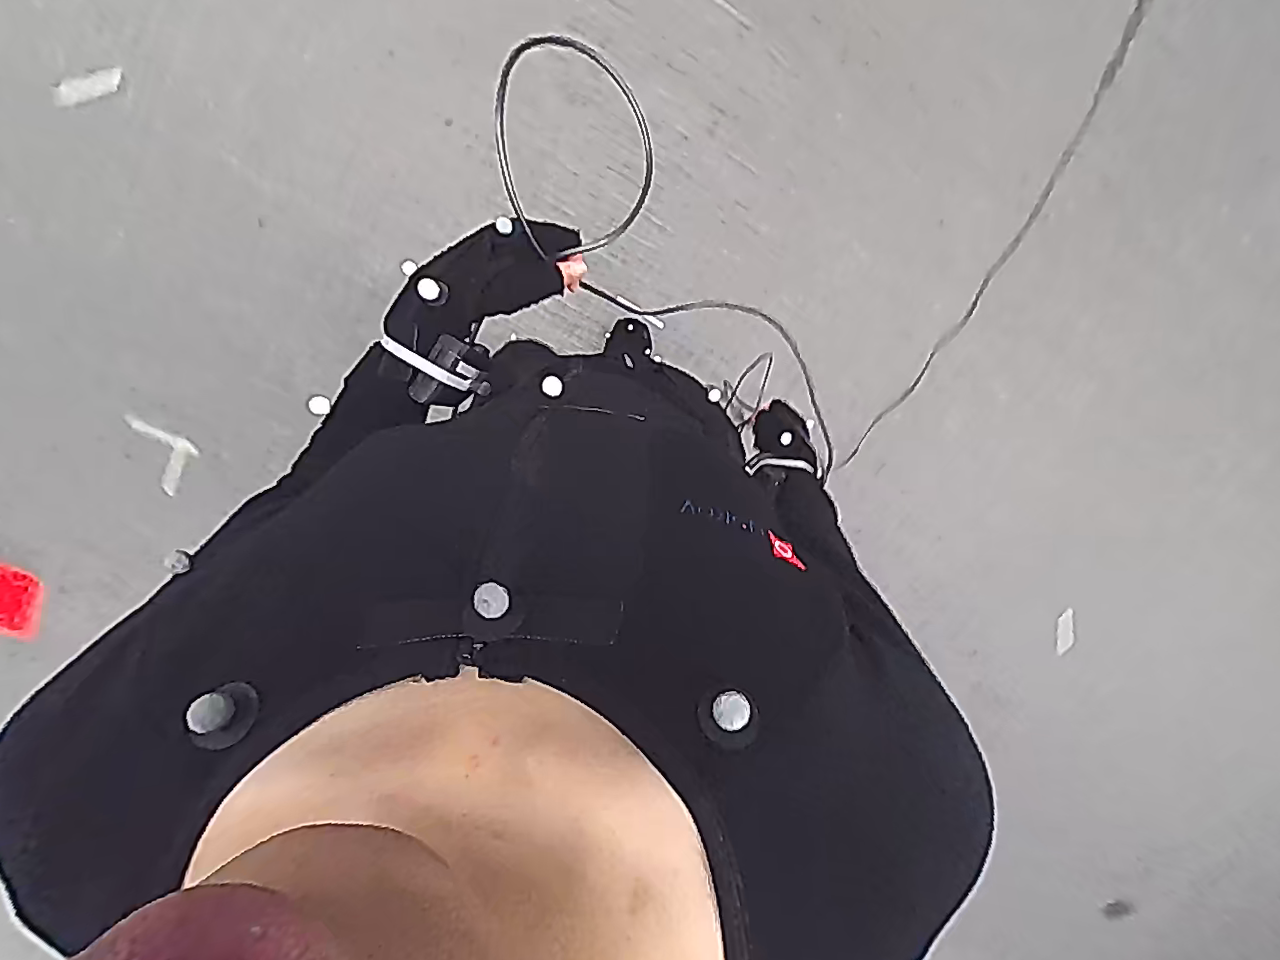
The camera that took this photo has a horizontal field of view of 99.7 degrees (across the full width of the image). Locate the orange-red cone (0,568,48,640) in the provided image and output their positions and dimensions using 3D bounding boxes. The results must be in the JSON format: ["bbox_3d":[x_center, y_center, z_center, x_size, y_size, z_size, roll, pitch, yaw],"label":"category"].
[{"bbox_3d":[-1.745,0.382,1.327,0.198,0.360,0.199,24,104,-7],"label":"orange-red cone"}]
